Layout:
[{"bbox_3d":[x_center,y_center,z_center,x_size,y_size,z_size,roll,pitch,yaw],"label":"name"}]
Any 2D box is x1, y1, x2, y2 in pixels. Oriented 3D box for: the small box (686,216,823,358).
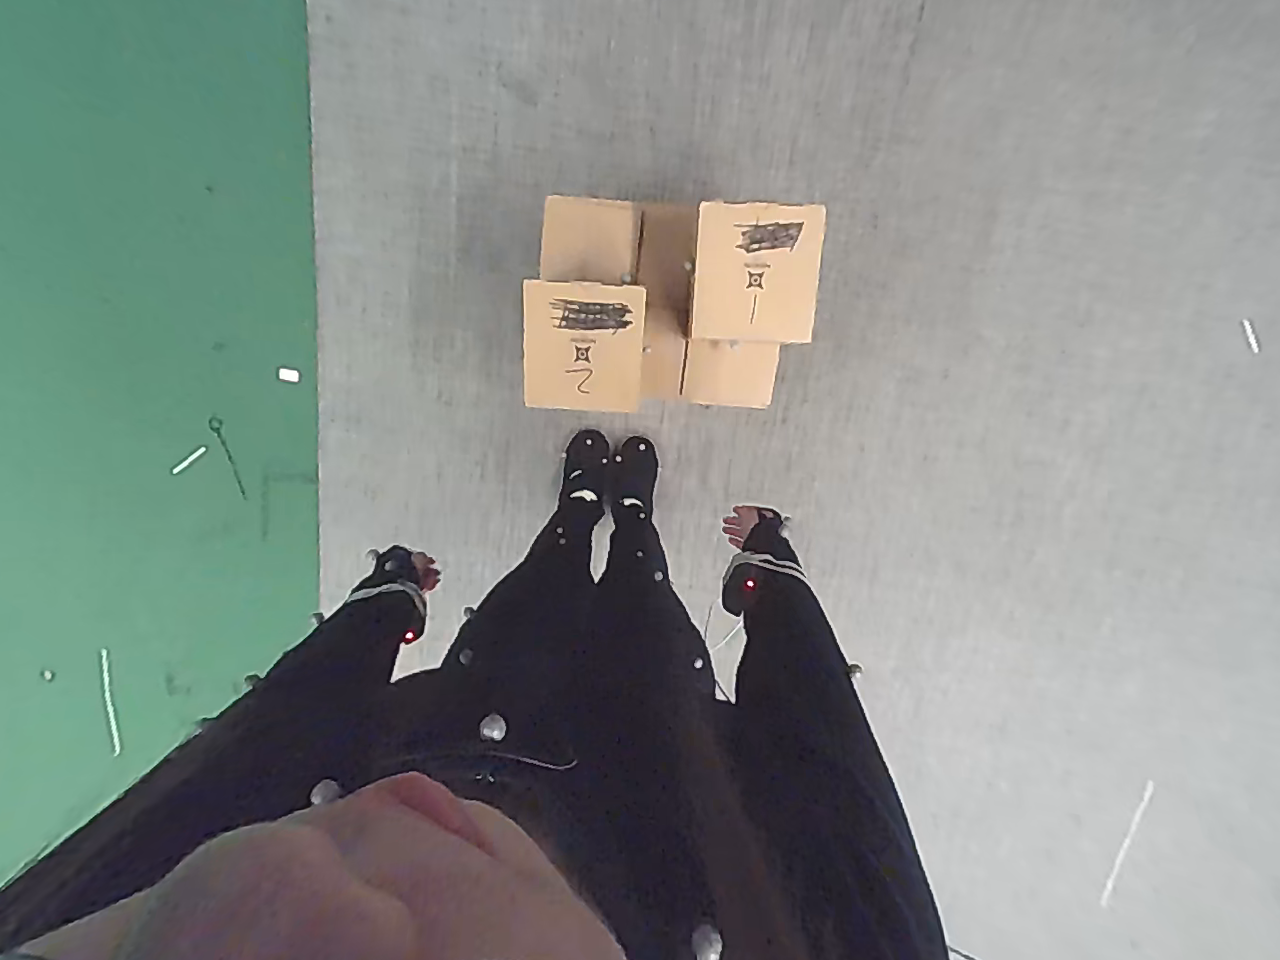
[{"bbox_3d":[0.159,-0.280,0.812,0.168,0.176,0.179,4,105,2],"label":"small box"}]
